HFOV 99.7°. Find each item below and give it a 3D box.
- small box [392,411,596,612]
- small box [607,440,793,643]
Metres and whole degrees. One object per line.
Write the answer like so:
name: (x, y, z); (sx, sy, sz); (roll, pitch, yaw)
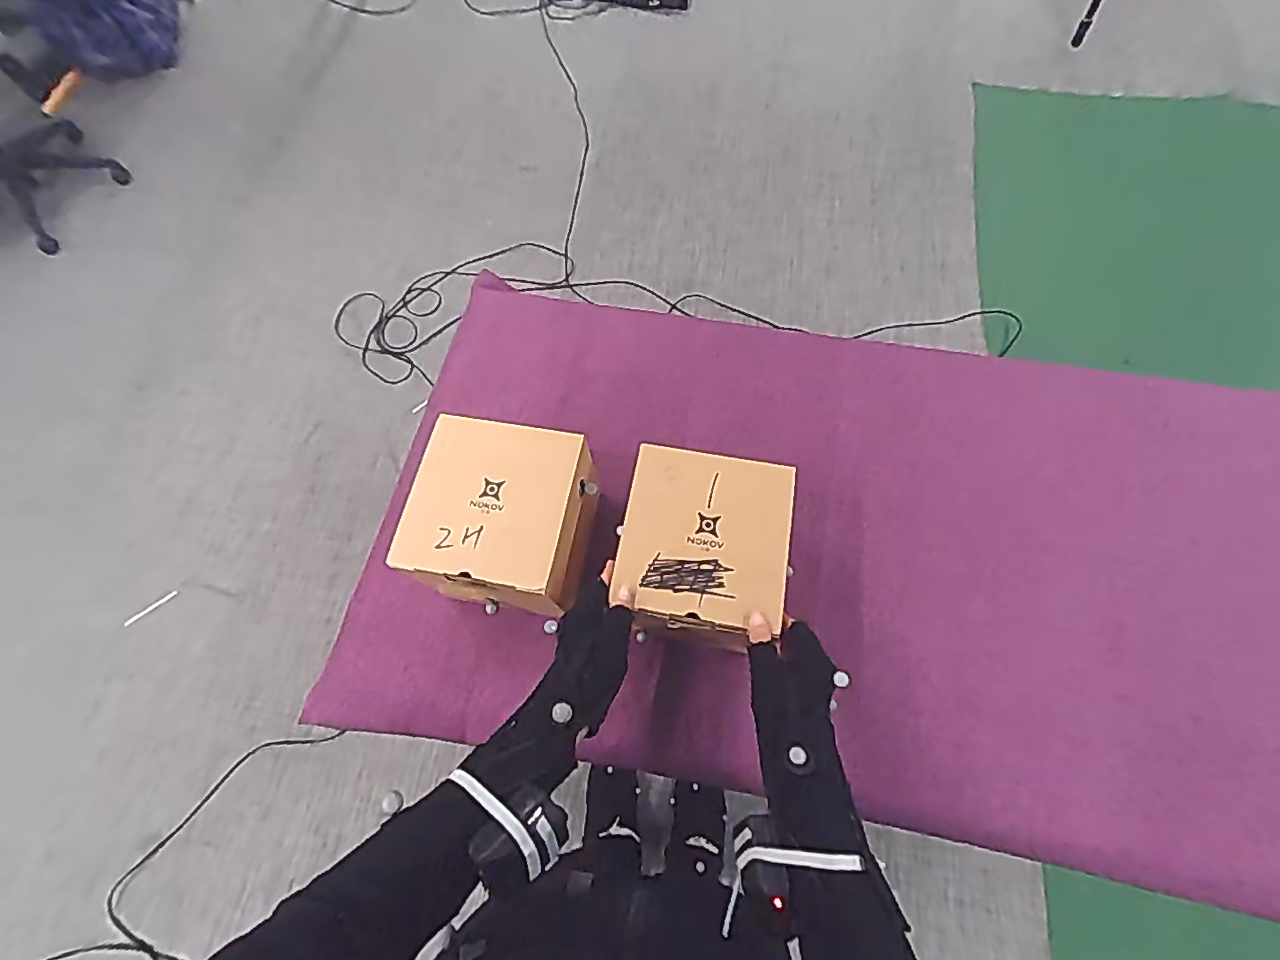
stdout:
small box: (-0.152, 0.044, 0.636); (0.168, 0.176, 0.179); (9, 68, 6)
small box: (0.067, 0.078, 0.614); (0.168, 0.176, 0.179); (9, 68, 6)
